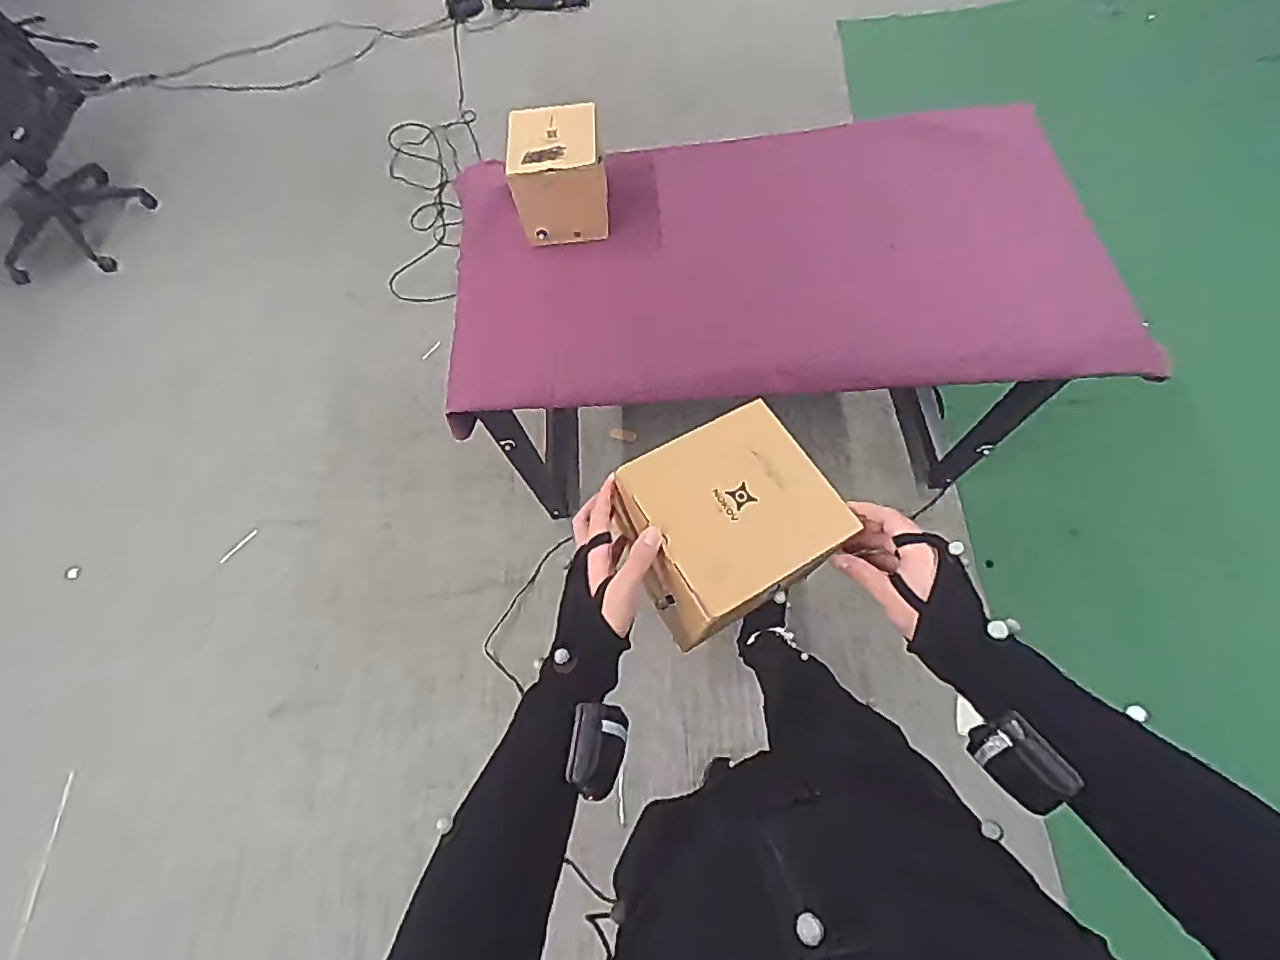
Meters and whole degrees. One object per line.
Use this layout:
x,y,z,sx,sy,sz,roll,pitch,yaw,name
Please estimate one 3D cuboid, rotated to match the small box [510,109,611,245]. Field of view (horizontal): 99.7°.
-0.150,-0.591,1.074,0.168,0.176,0.179,-4,66,3,small box
